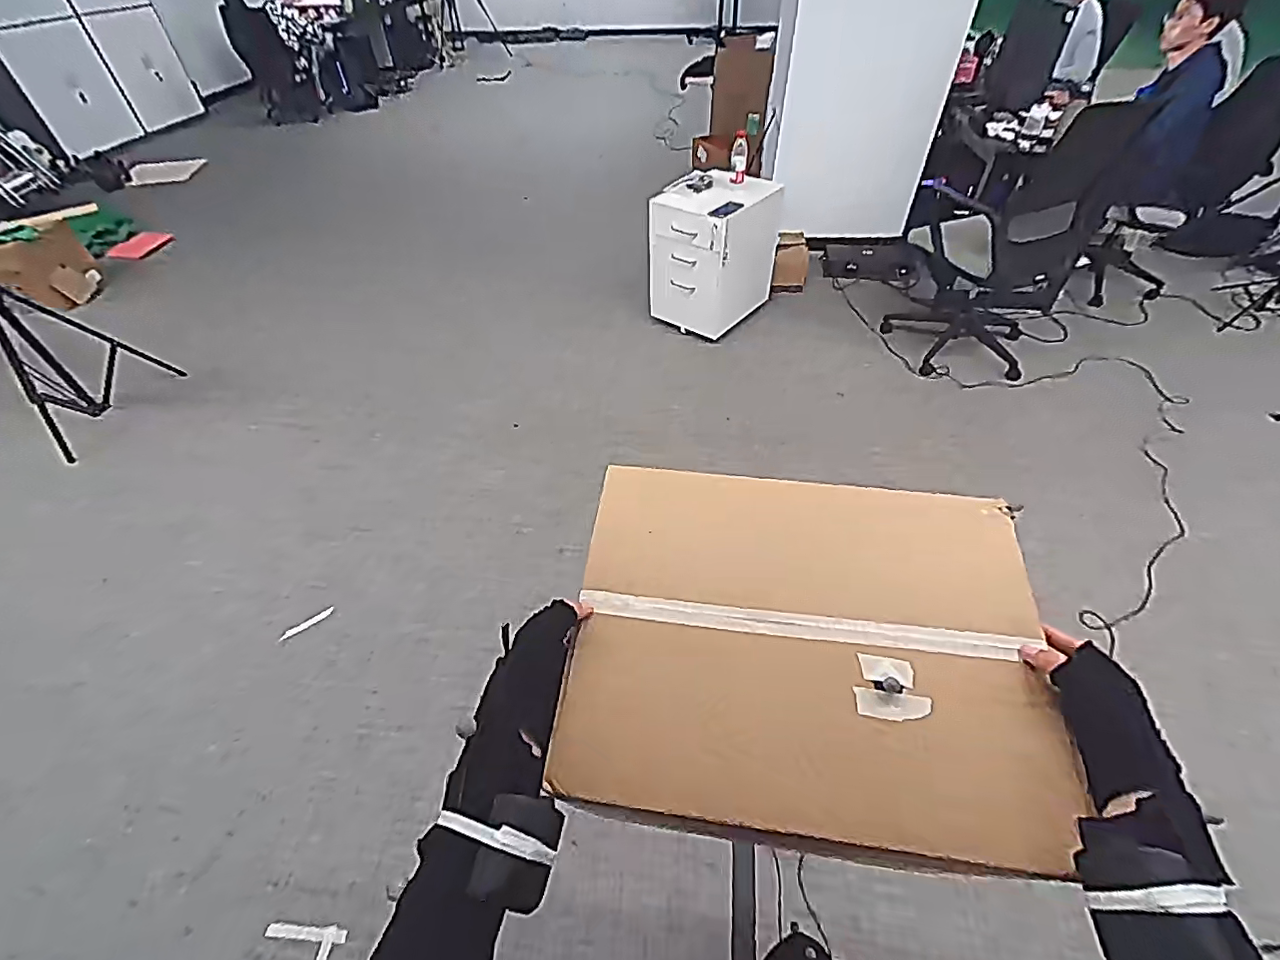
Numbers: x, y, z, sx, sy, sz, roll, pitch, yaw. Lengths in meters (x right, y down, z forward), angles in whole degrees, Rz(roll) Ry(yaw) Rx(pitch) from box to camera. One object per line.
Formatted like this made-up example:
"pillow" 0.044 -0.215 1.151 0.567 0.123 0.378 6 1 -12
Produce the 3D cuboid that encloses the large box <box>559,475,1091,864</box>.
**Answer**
"large box" 0.151 0.218 0.611 0.408 0.320 0.320 5 57 6
